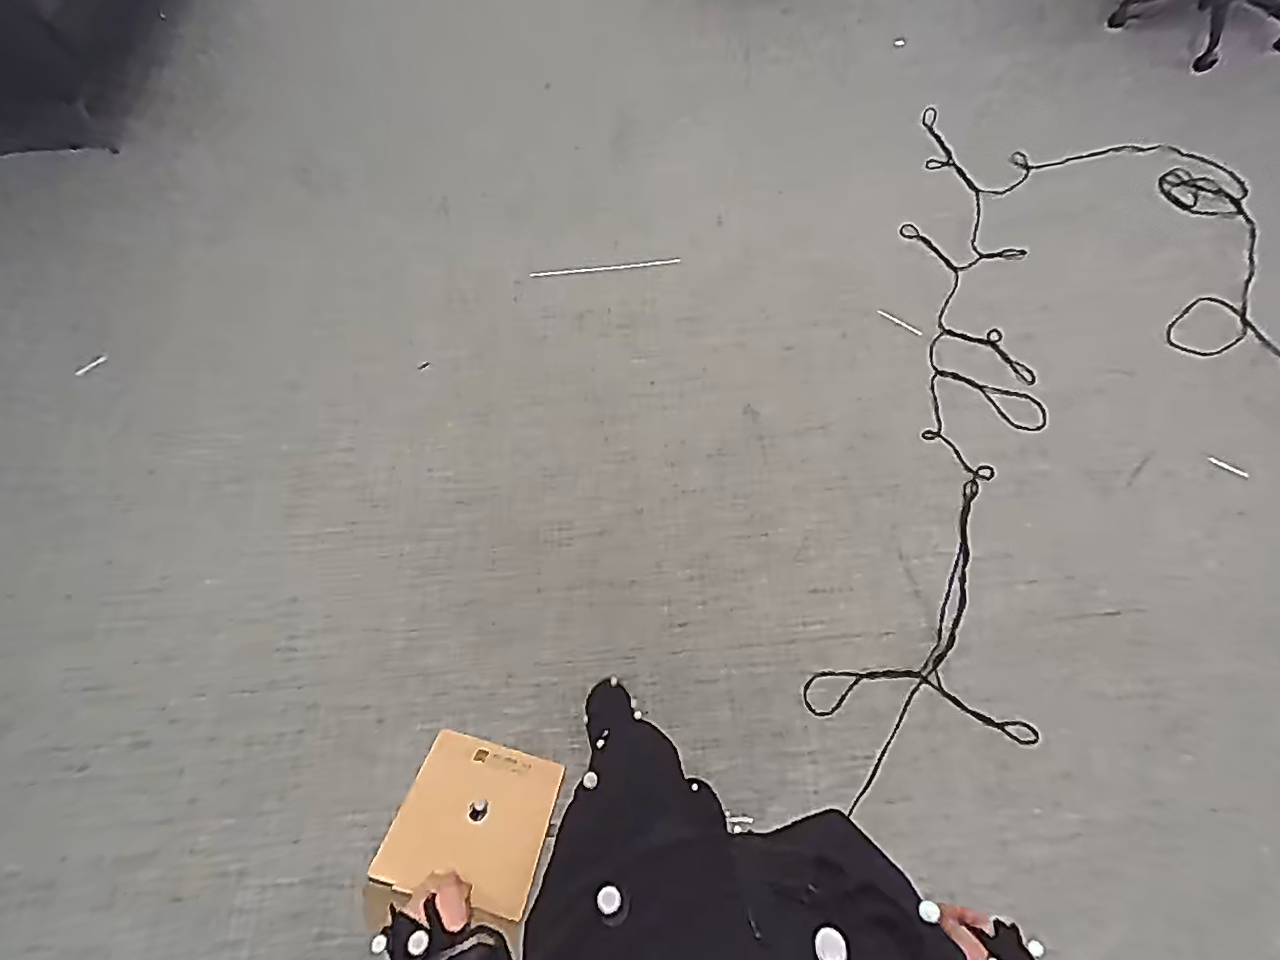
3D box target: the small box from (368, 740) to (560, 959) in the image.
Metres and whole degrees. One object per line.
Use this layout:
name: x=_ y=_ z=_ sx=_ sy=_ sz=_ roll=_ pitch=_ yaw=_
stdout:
small box: x=-0.204 y=0.450 z=0.654 sx=0.168 sy=0.179 sz=0.176 roll=17 pitch=31 yaw=-1
